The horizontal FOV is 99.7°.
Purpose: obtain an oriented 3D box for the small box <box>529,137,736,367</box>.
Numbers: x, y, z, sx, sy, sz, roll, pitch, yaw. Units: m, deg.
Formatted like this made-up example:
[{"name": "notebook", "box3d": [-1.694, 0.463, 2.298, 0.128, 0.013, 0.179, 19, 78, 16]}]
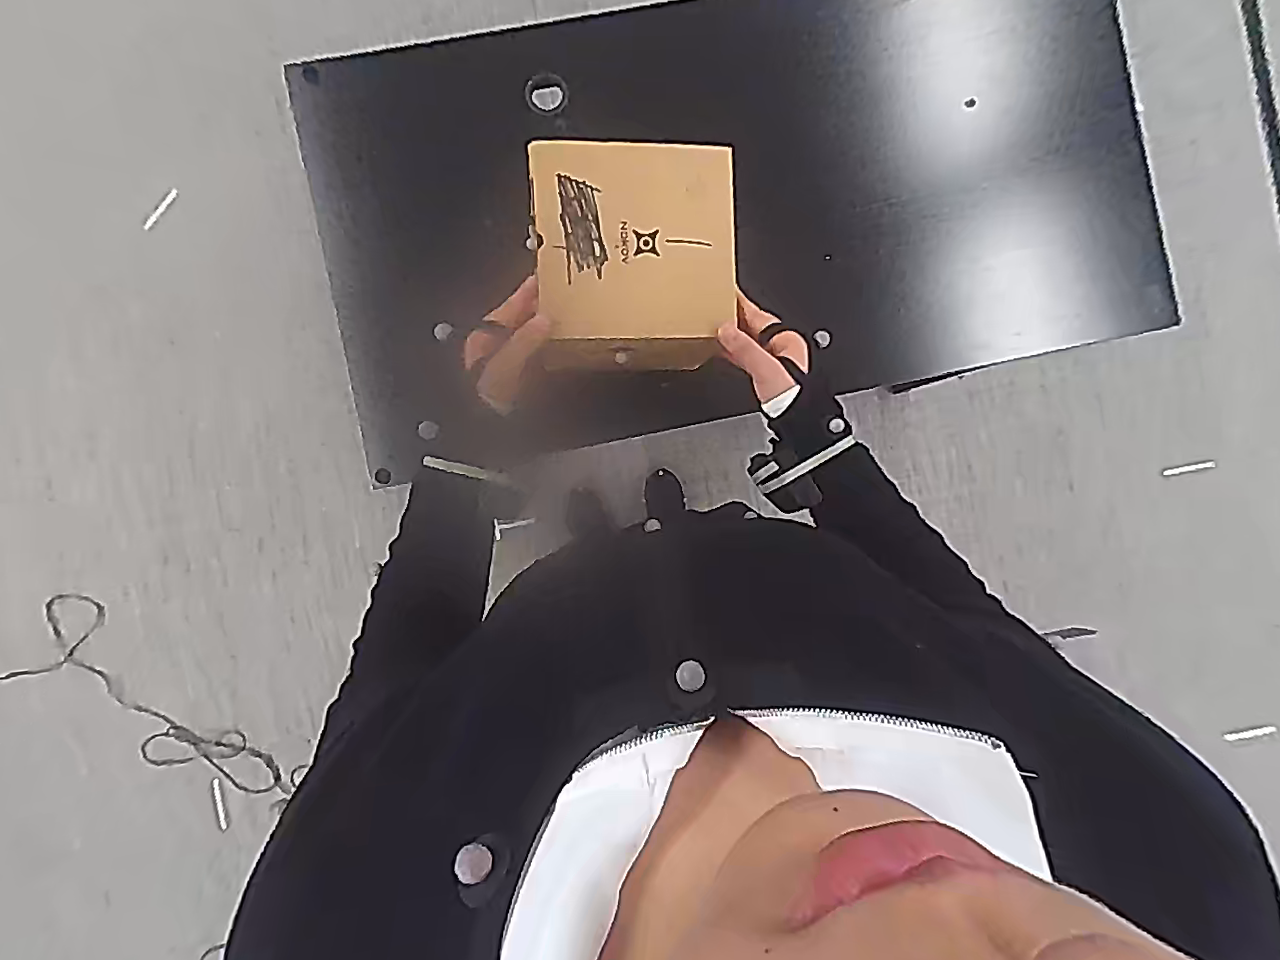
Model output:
[{"name": "small box", "box3d": [-0.013, -0.209, 0.542, 0.179, 0.176, 0.168, -2, 92, -8]}]
